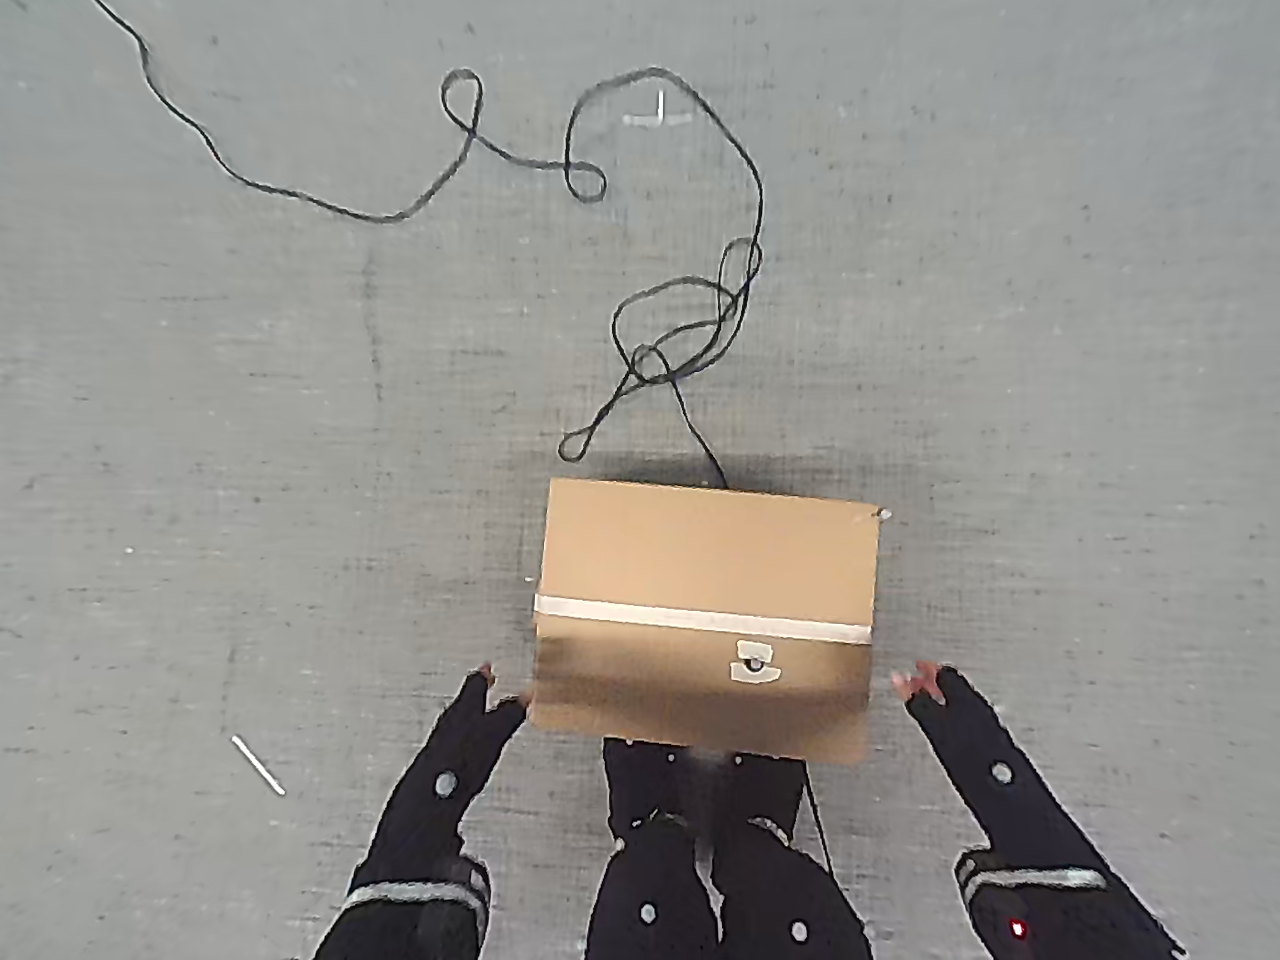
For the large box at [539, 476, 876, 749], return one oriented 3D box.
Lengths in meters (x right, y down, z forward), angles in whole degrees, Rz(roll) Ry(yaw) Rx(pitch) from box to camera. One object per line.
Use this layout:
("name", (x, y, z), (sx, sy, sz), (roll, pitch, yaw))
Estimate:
("large box", (0.087, 0.165, 0.810), (0.408, 0.320, 0.320), (4, 89, 4))
